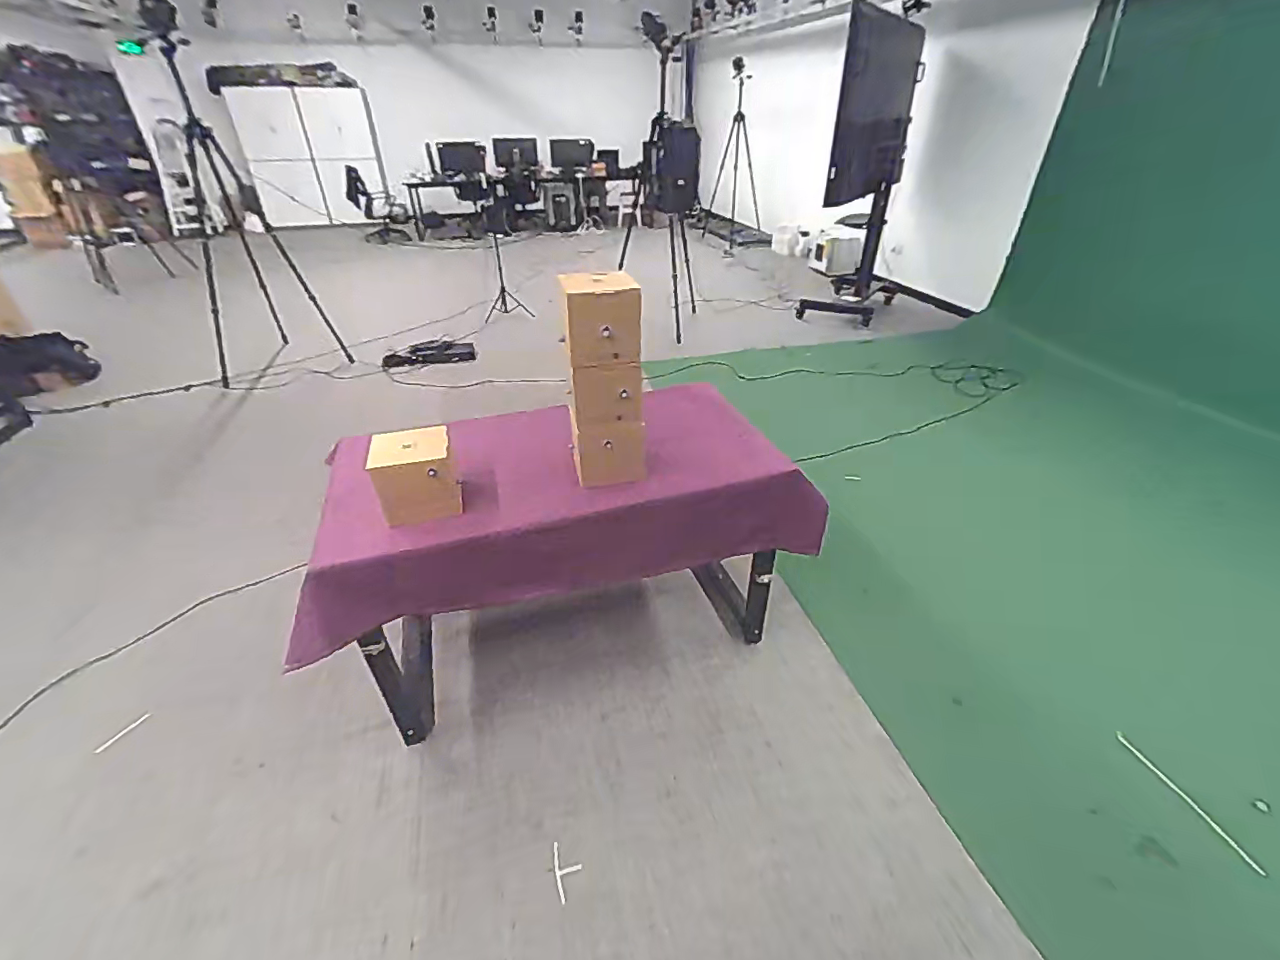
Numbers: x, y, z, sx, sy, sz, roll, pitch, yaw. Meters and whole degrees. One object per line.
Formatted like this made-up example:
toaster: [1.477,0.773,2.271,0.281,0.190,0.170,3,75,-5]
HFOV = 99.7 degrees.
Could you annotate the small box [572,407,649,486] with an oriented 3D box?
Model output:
small box: [-0.078,-0.098,1.441,0.179,0.176,0.168,-8,35,-9]

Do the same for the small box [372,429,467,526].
small box: [-0.533,-0.006,1.328,0.179,0.176,0.168,-10,35,-13]

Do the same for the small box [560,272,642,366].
small box: [-0.091,-0.374,1.265,0.168,0.176,0.179,-8,35,-11]

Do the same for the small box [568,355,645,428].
small box: [-0.084,-0.238,1.358,0.168,0.176,0.179,-8,34,-10]
